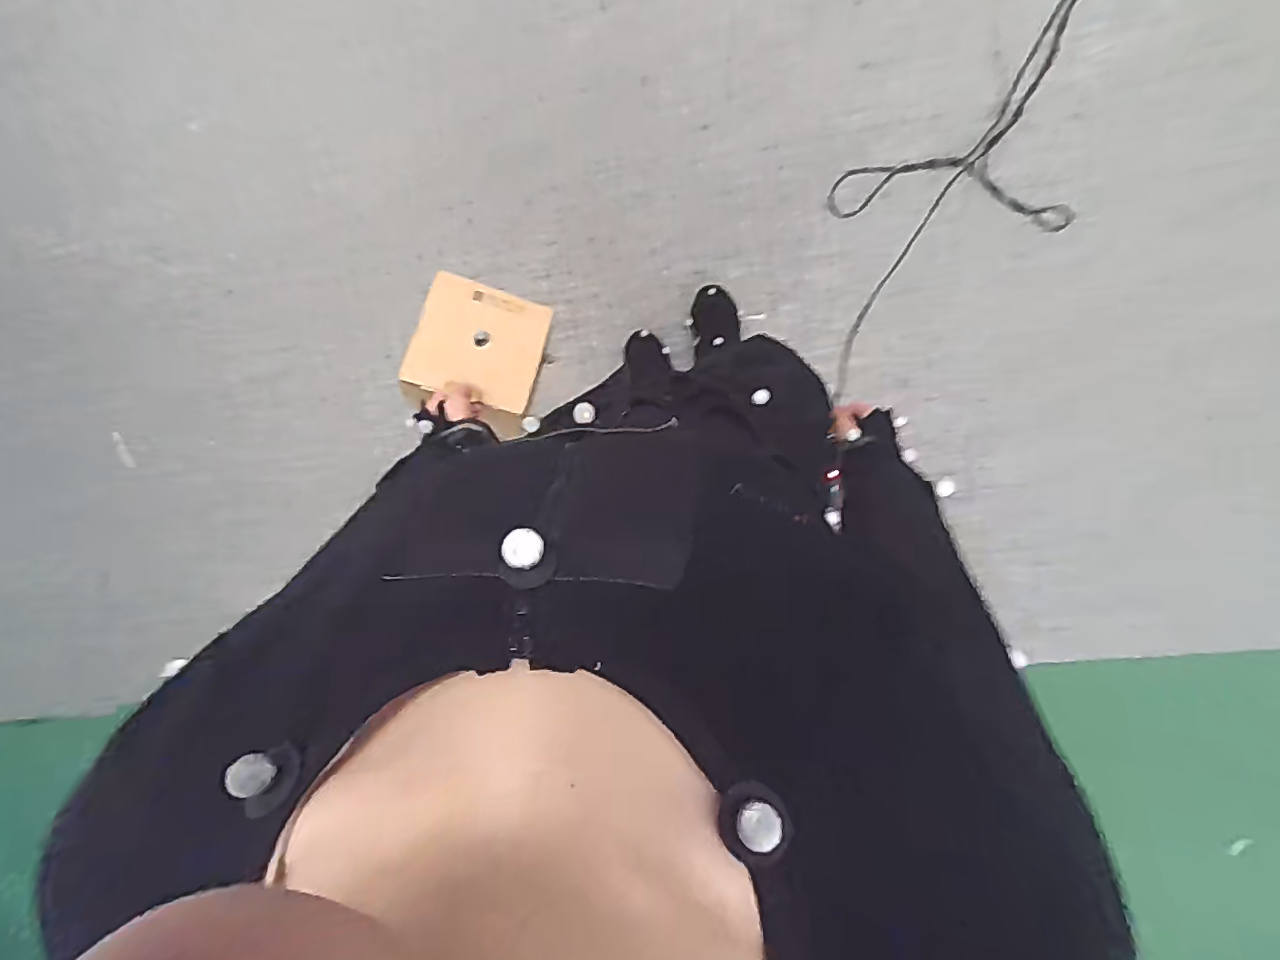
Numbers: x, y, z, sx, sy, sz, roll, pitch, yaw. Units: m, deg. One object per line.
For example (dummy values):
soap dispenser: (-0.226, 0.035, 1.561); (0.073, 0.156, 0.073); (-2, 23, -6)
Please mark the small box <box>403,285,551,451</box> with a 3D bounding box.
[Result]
small box: (-0.237, -0.161, 0.813); (0.168, 0.179, 0.176); (15, 75, -11)
